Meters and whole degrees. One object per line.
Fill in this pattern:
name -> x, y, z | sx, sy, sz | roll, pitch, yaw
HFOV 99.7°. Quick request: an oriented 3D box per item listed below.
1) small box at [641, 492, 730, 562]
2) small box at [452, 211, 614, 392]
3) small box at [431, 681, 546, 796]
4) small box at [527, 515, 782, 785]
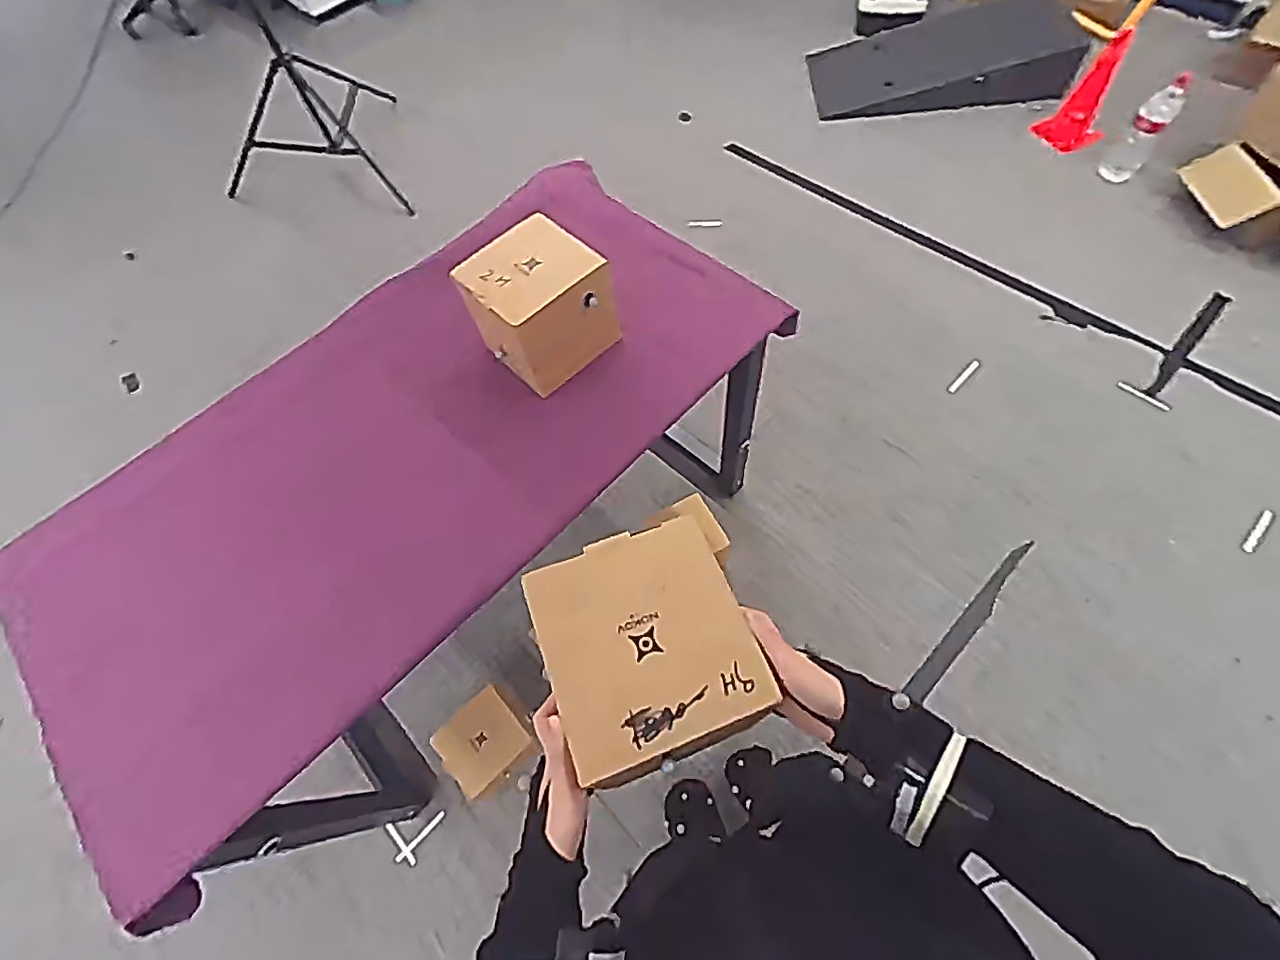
small box -> 0.119, 0.163, 1.434 | 0.179, 0.176, 0.168 | -28, 65, -7
small box -> -0.156, -0.277, 0.860 | 0.179, 0.176, 0.168 | -42, 67, -13
small box -> -0.345, 0.603, 1.267 | 0.179, 0.176, 0.168 | -41, 68, -15
small box -> 0.008, 0.165, 0.508 | 0.168, 0.176, 0.179 | -19, 60, -7
